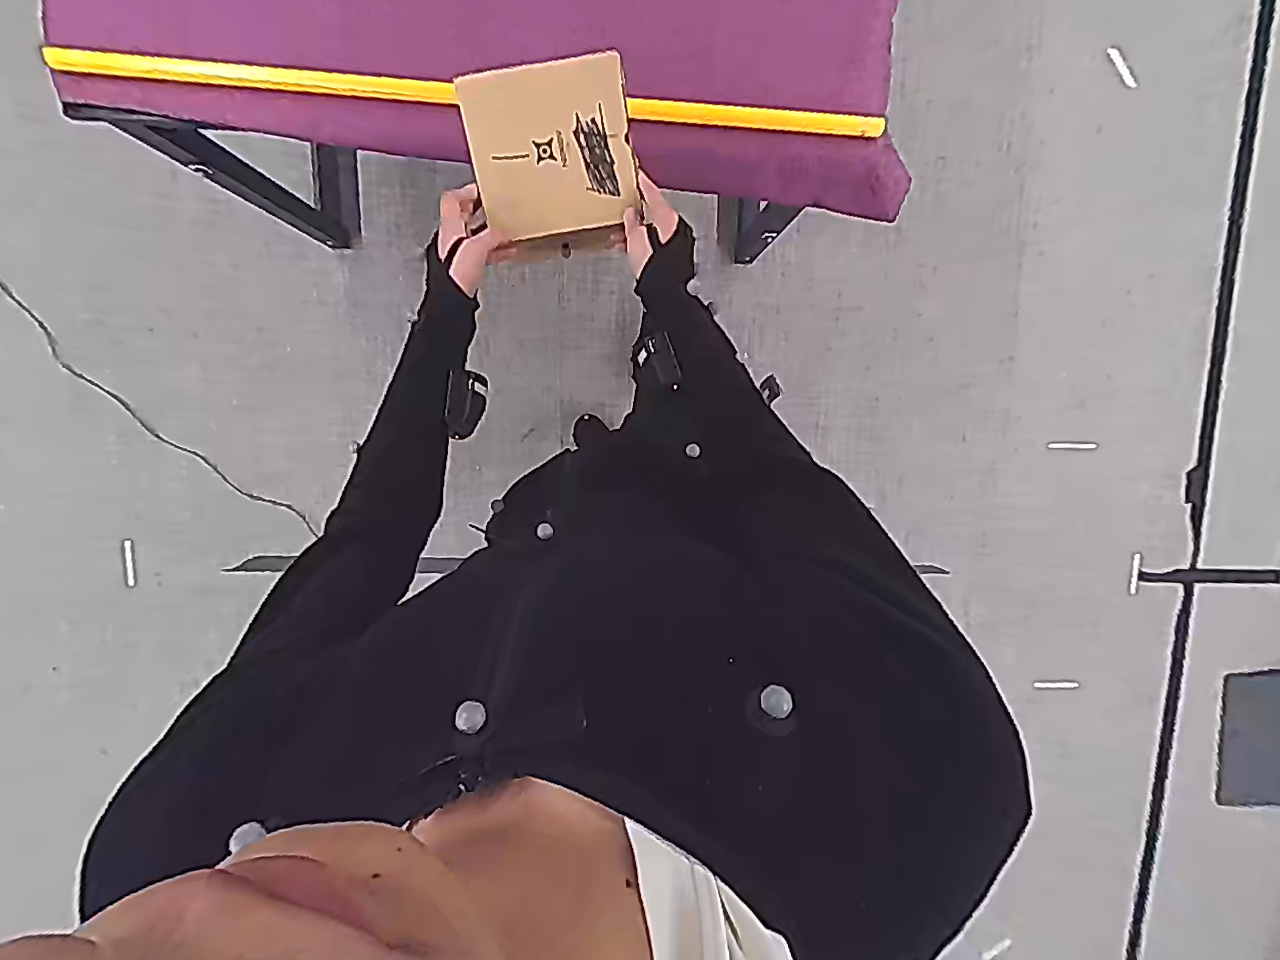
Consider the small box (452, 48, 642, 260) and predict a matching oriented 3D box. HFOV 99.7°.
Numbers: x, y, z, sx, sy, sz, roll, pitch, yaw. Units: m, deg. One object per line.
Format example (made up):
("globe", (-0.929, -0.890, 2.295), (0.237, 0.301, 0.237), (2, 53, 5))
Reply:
("small box", (-0.101, -0.371, 0.648), (0.179, 0.176, 0.168), (-10, 105, -1))
